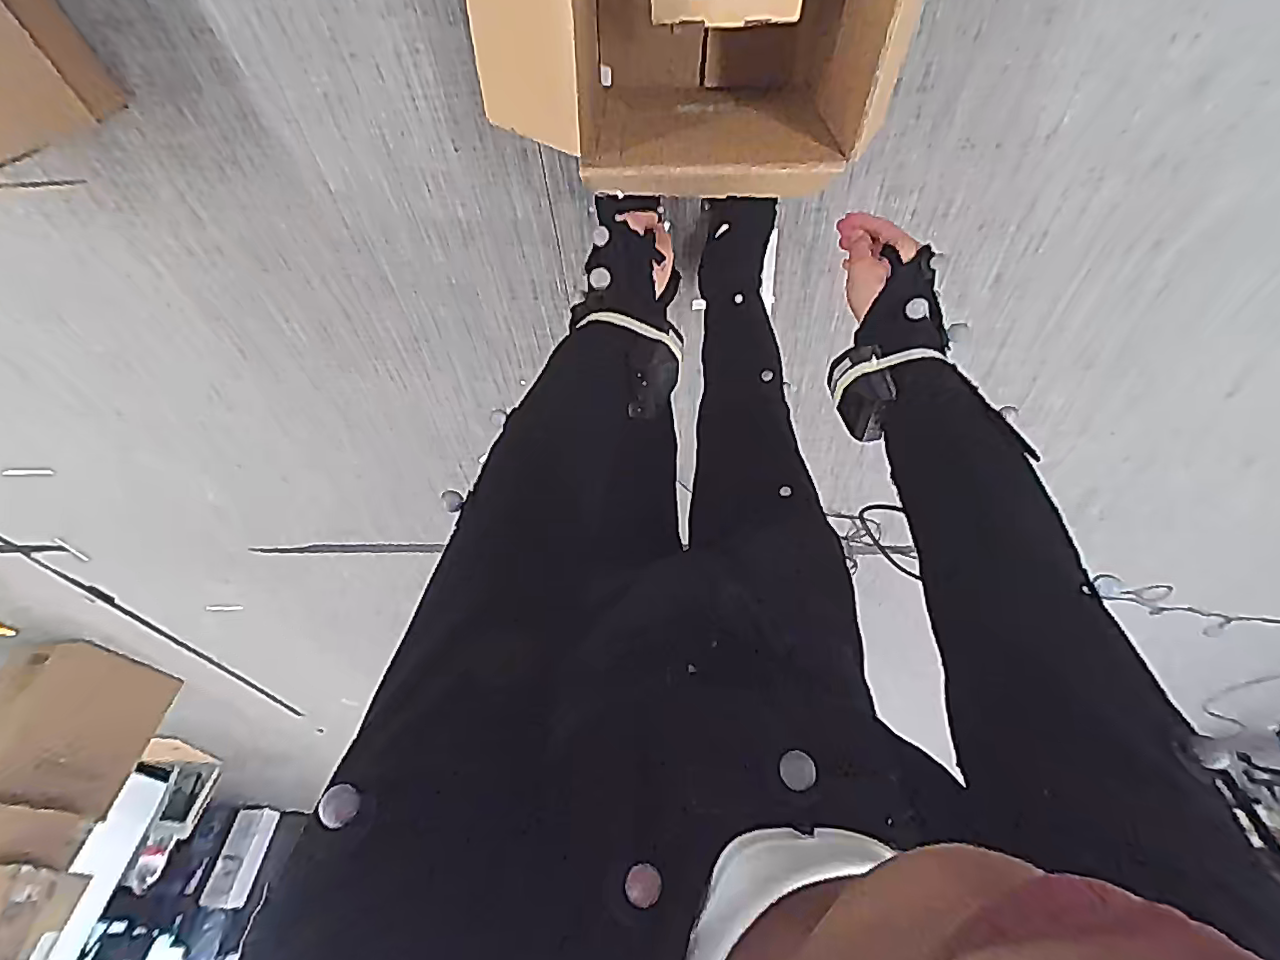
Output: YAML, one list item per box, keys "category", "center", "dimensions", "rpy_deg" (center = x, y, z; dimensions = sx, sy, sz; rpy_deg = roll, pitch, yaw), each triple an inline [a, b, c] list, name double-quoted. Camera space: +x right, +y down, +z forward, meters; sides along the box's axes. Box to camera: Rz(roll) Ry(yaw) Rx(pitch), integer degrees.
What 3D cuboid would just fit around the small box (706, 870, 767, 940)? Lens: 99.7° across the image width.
- category: "small box"
  center: [0.311, 1.405, 1.788]
  dimensions: [0.168, 0.176, 0.179]
  rpy_deg: [4, 138, 0]
